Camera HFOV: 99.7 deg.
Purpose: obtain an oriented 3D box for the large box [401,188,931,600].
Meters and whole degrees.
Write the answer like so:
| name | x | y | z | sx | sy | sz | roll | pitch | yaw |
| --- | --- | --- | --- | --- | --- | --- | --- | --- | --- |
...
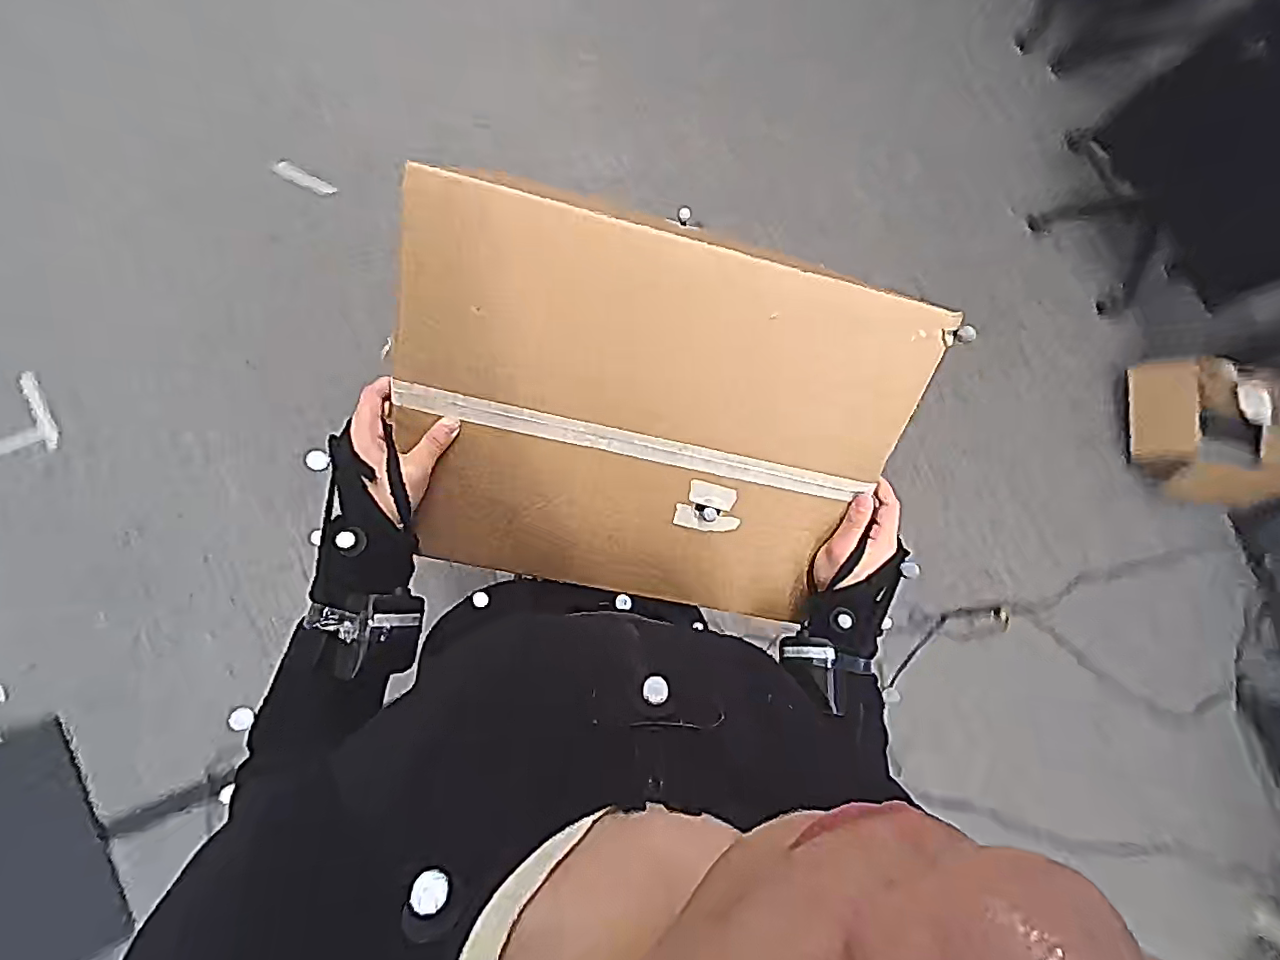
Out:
| name | x | y | z | sx | sy | sz | roll | pitch | yaw |
| --- | --- | --- | --- | --- | --- | --- | --- | --- | --- |
| large box | -0.007 | -0.106 | 0.588 | 0.408 | 0.320 | 0.320 | 9 | 119 | -10 |

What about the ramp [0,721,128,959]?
| name | x | y | z | sx | sy | sz | roll | pitch | yaw |
| --- | --- | --- | --- | --- | --- | --- | --- | --- | --- |
| ramp | -1.579 | 0.887 | 0.937 | 0.991 | 0.206 | 0.509 | -23 | 88 | -14 |
